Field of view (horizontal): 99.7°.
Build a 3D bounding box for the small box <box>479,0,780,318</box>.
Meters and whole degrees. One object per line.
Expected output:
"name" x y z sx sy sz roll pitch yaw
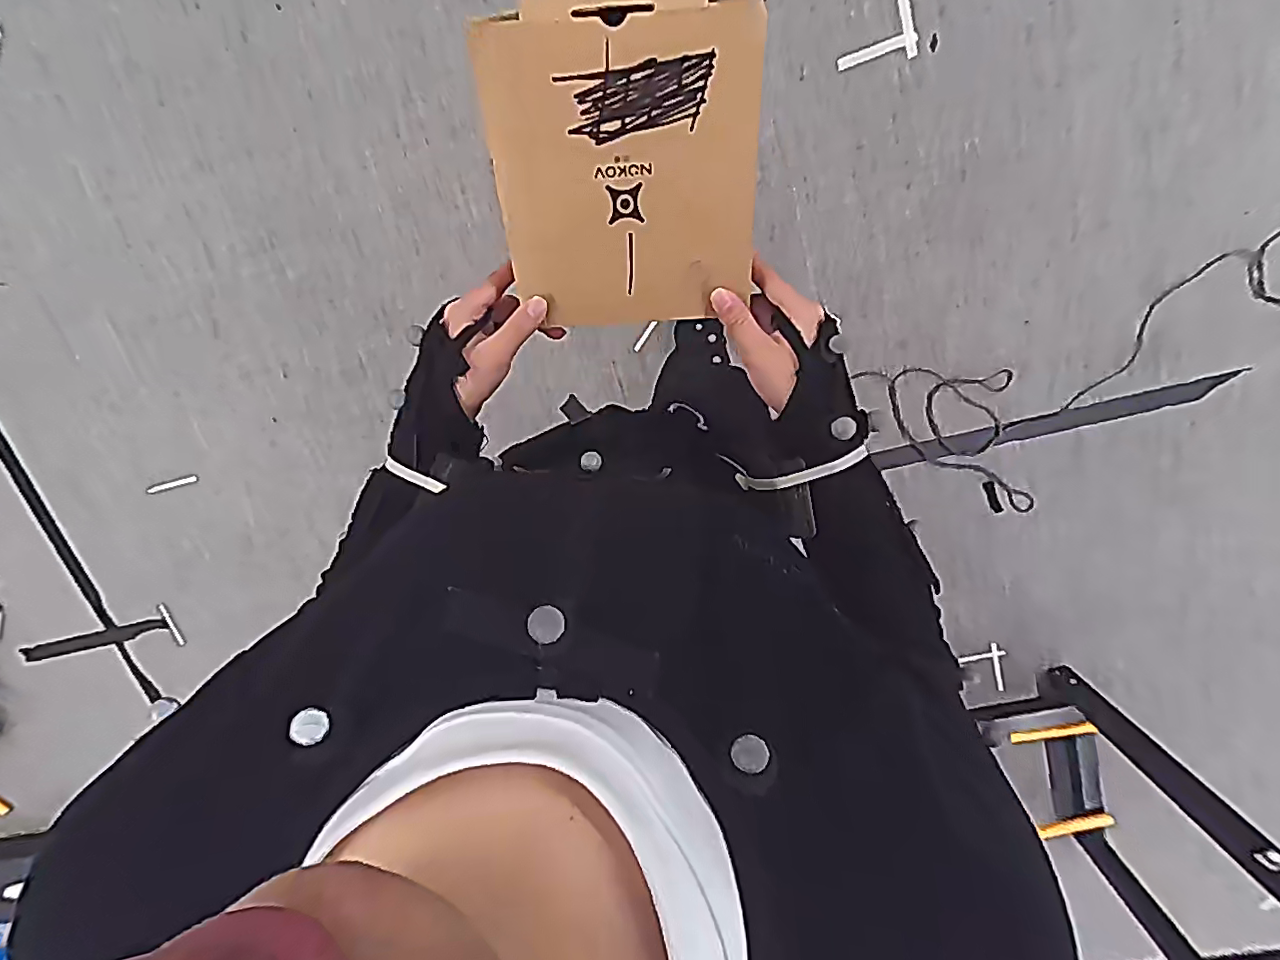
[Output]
"small box" -0.003 -0.237 0.400 0.168 0.176 0.179 -2 127 3
